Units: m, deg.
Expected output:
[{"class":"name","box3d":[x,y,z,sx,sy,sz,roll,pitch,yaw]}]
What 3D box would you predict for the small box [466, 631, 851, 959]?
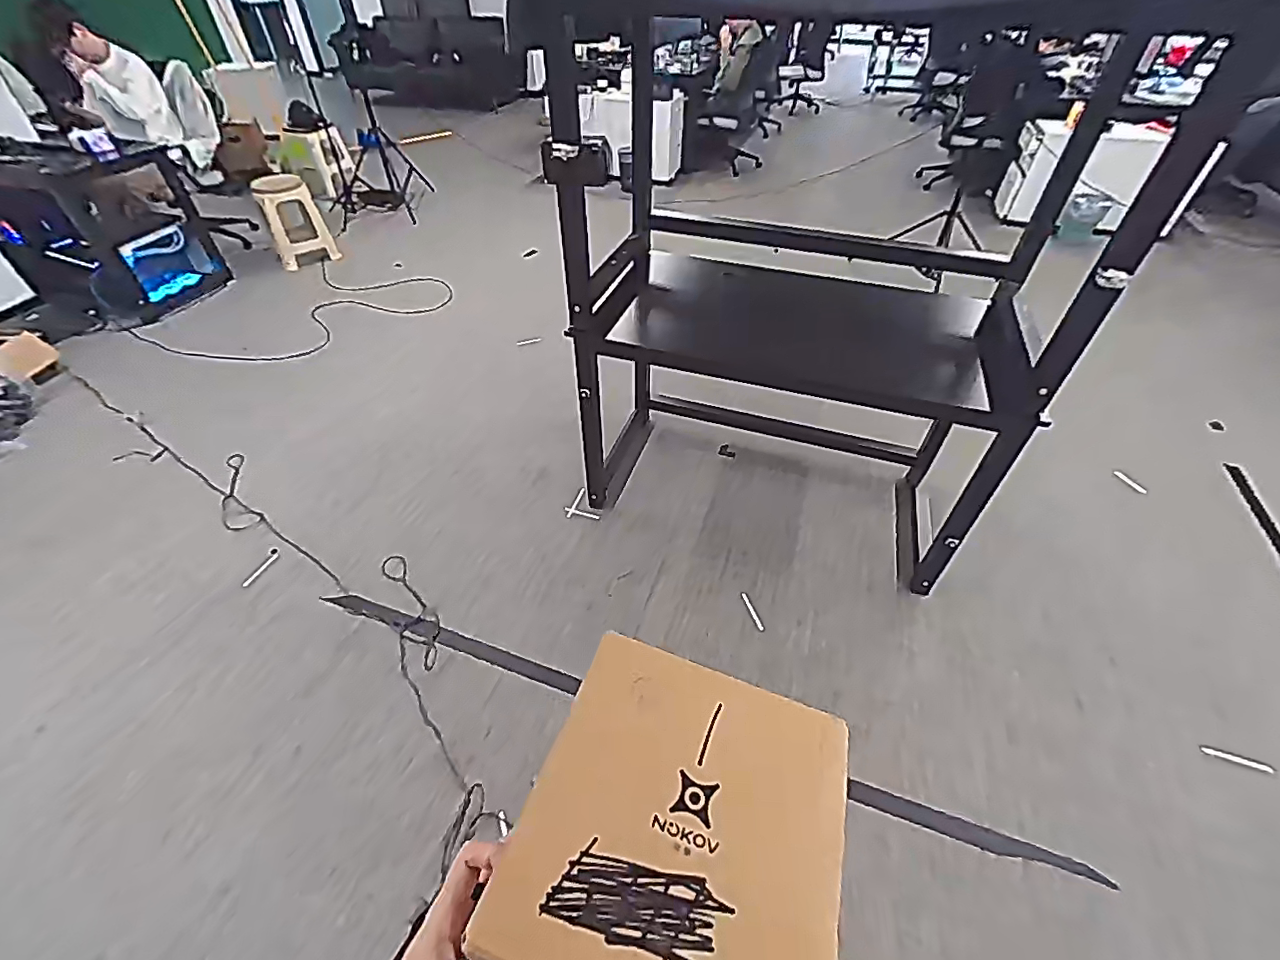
[{"class":"small box","box3d":[0.017,0.236,0.341,0.168,0.176,0.179,18,42,10]}]
